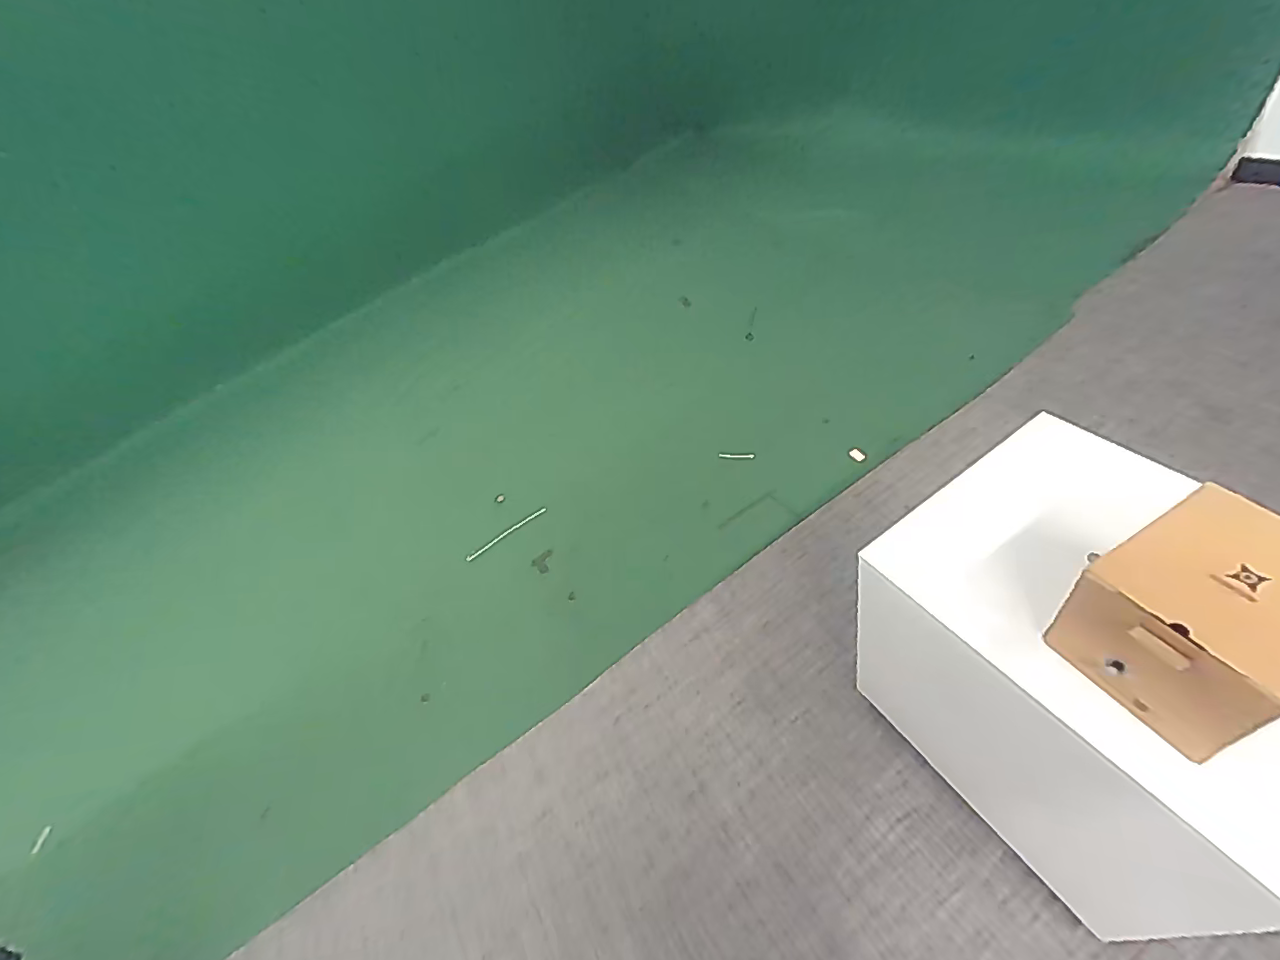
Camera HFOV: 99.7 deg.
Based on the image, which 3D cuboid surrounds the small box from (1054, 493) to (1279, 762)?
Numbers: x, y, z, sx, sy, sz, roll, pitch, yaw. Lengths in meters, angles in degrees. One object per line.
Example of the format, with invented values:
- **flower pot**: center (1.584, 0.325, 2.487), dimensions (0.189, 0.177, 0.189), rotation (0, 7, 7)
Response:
- **small box**: center (0.580, 0.153, 0.558), dimensions (0.179, 0.176, 0.168), rotation (-31, 46, -8)
